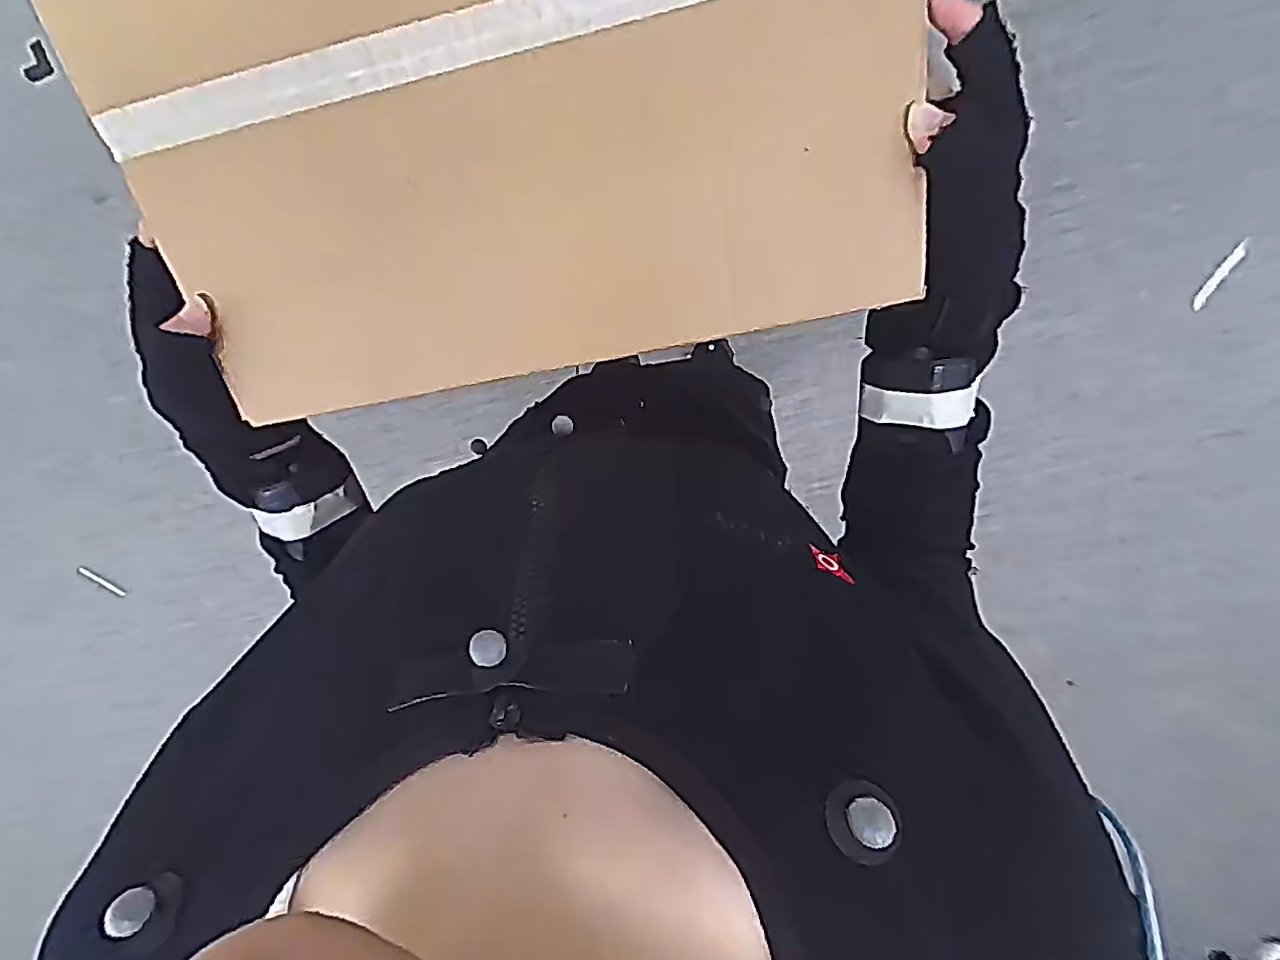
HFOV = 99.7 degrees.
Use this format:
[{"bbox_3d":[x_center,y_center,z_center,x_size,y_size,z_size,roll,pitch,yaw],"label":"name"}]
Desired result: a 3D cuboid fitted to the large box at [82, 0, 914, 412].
[{"bbox_3d":[-0.067,-0.270,0.407,0.408,0.320,0.320,-10,112,7],"label":"large box"}]
